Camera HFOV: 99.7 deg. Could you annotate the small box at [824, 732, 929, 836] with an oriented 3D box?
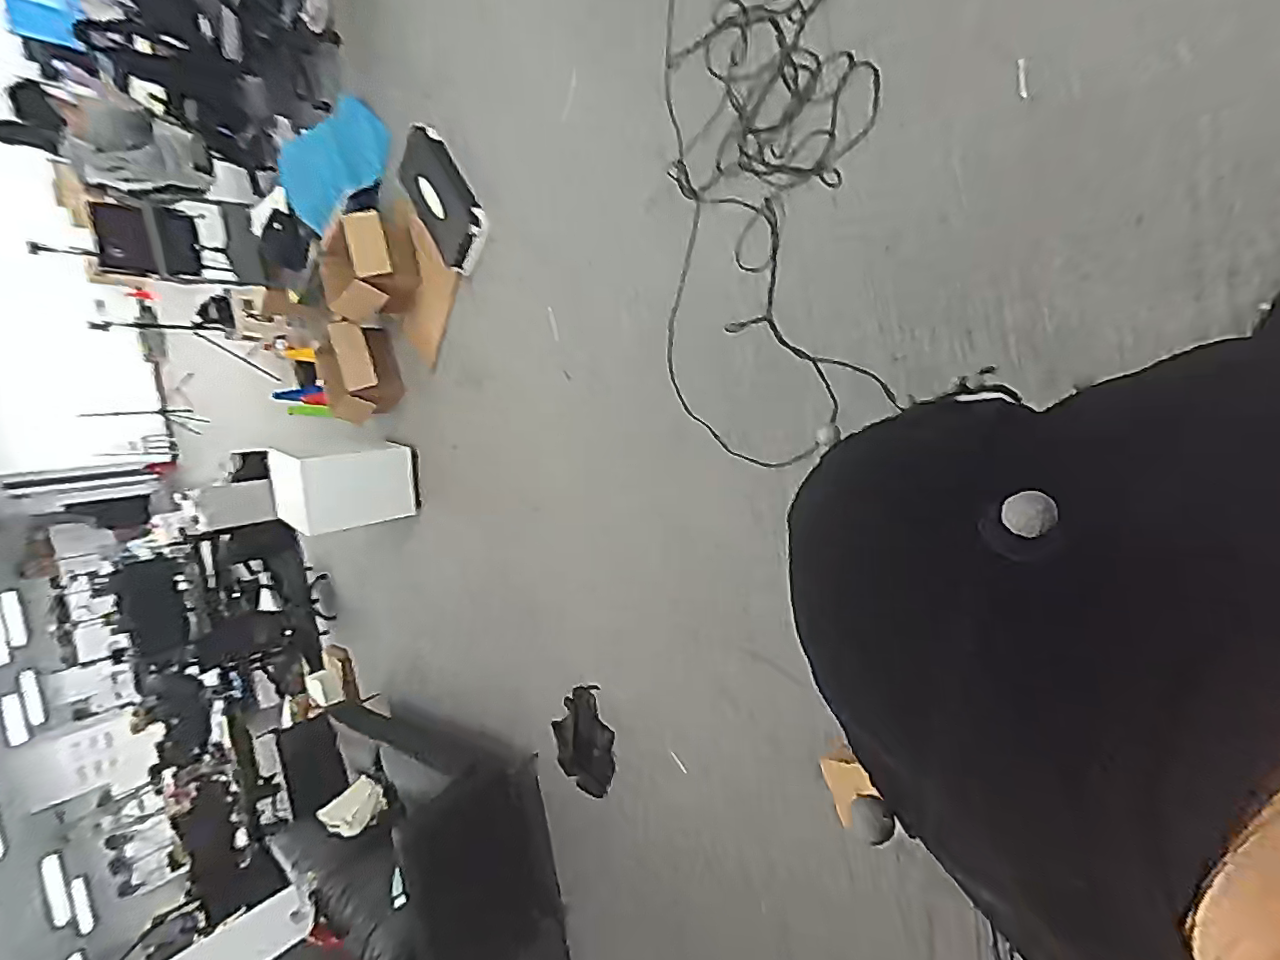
[{"bbox_3d":[0.614,0.774,1.400,0.168,0.176,0.179,-27,81,45],"label":"small box"}]
